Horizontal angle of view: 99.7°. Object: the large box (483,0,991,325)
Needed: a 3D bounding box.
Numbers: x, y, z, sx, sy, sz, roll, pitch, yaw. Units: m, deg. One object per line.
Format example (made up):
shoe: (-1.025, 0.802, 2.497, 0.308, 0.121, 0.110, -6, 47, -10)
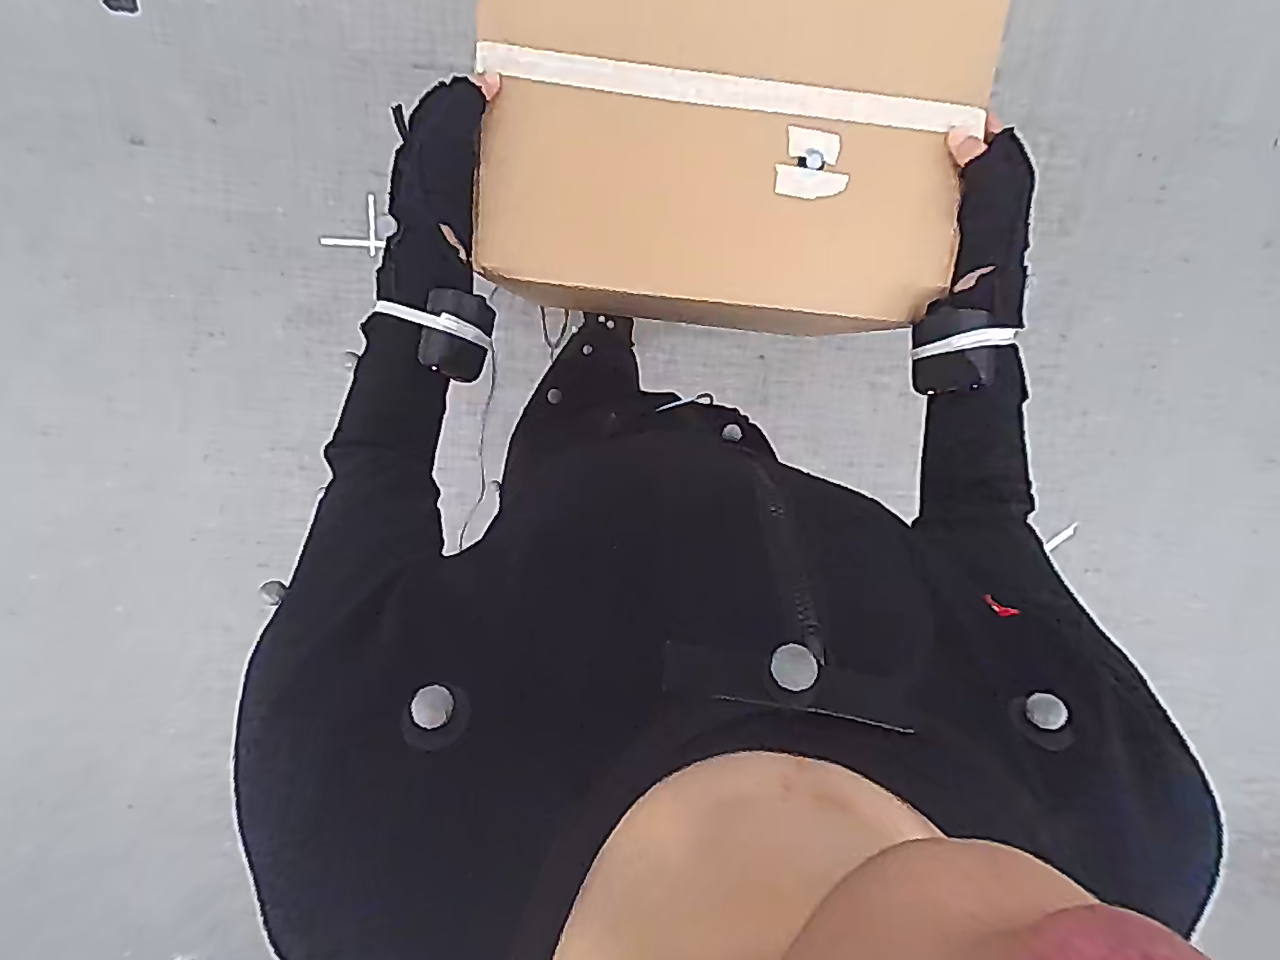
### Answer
large box: (0.066, -0.350, 0.583, 0.408, 0.320, 0.320, 5, 104, -4)
